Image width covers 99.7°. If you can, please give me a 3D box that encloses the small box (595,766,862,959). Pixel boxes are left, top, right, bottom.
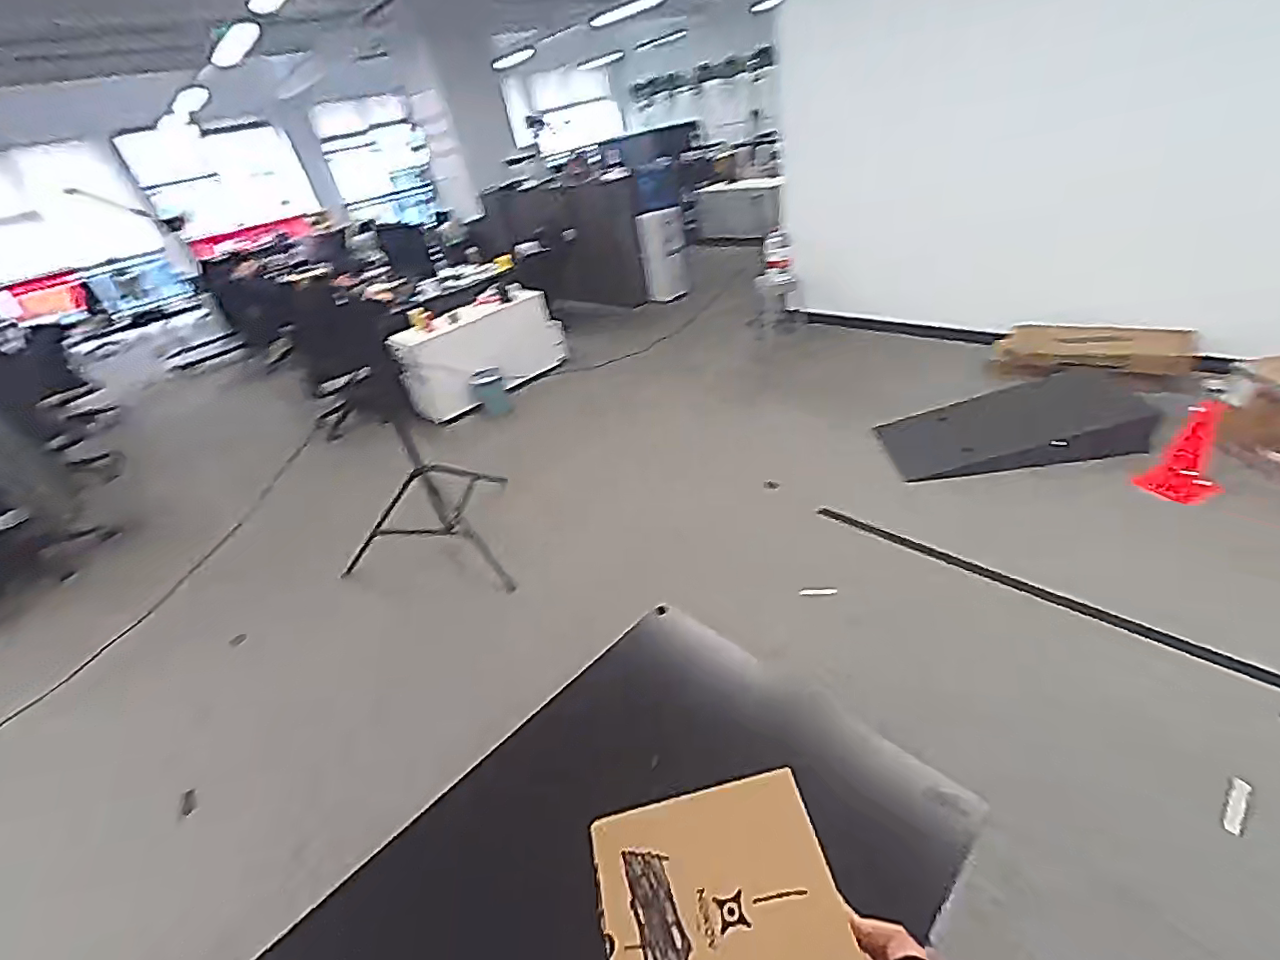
[{"bbox_3d":[0.072,0.375,0.450,0.179,0.176,0.168,-14,40,-2],"label":"small box"}]
